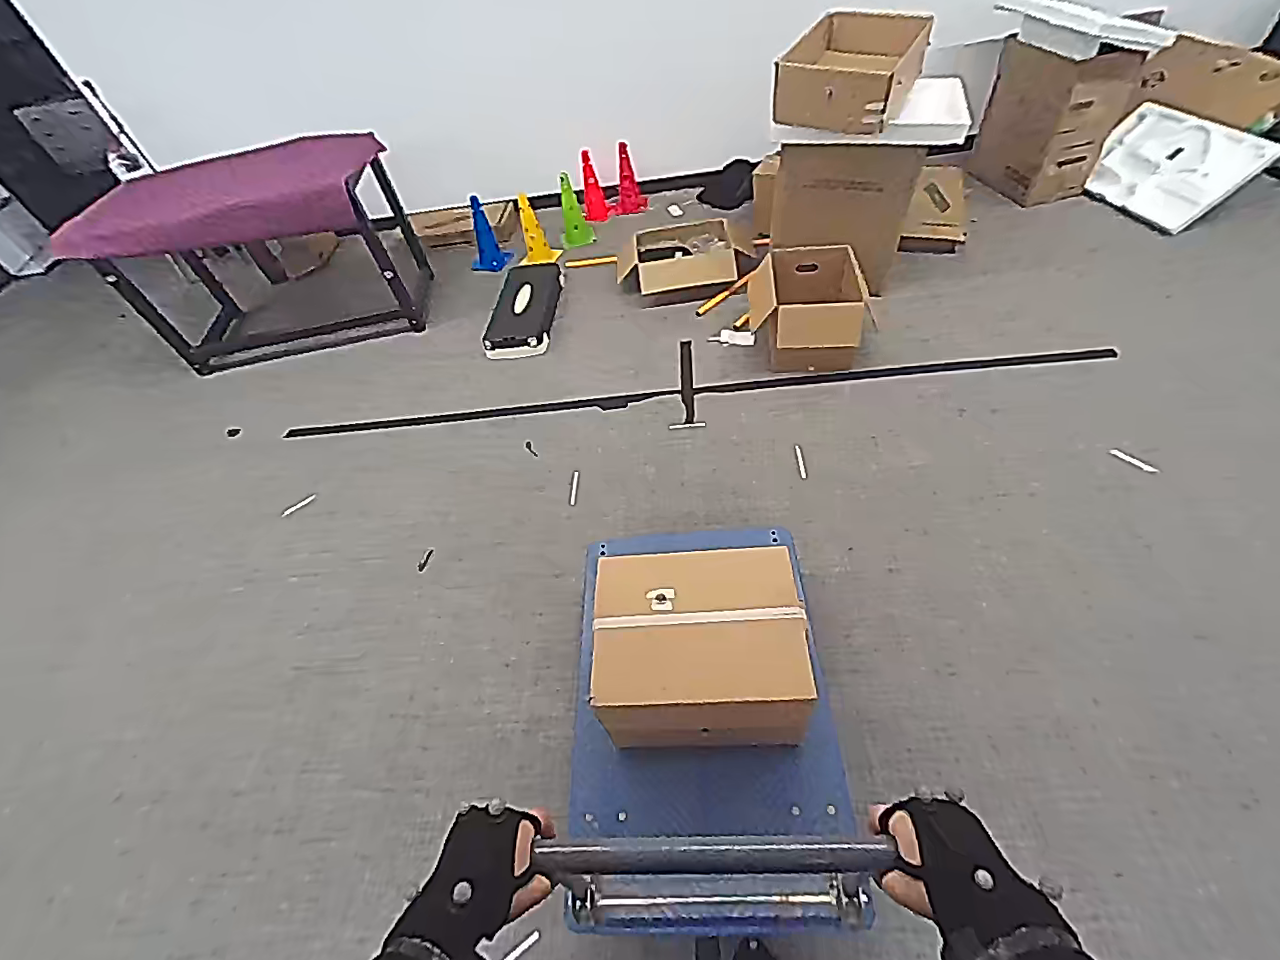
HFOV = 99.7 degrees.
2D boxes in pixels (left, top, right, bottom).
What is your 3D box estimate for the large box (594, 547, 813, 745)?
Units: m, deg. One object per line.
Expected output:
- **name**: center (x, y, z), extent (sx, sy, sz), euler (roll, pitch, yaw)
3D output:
- **large box**: center (0.133, 0.372, 1.182), extent (0.408, 0.320, 0.320), euler (-6, 49, 7)
